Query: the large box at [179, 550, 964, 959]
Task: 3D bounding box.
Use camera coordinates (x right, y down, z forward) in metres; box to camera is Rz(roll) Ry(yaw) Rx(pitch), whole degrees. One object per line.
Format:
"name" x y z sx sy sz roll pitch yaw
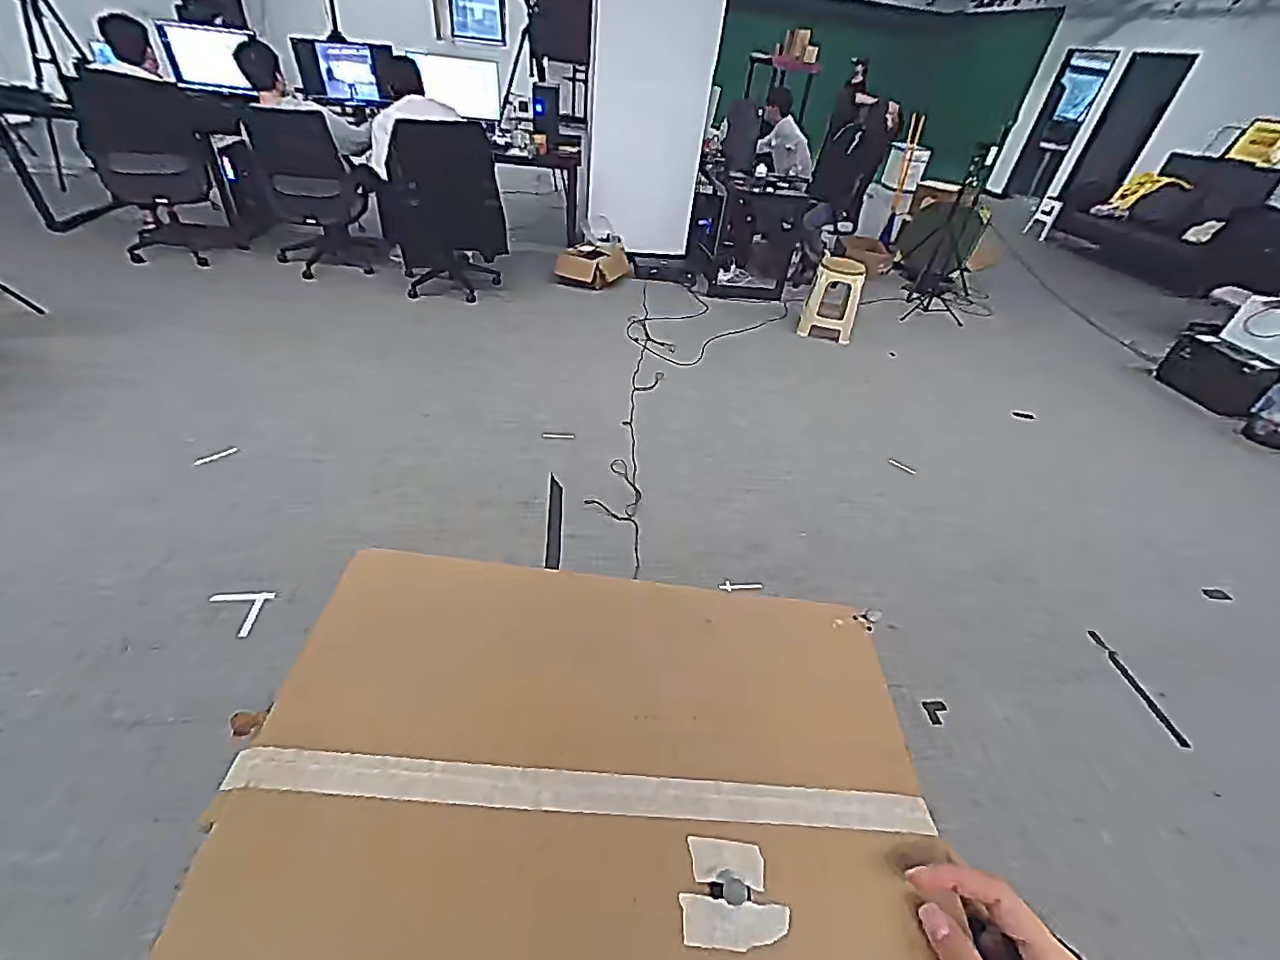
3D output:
"large box" -0.044 0.291 0.432 0.408 0.320 0.320 9 44 -7
